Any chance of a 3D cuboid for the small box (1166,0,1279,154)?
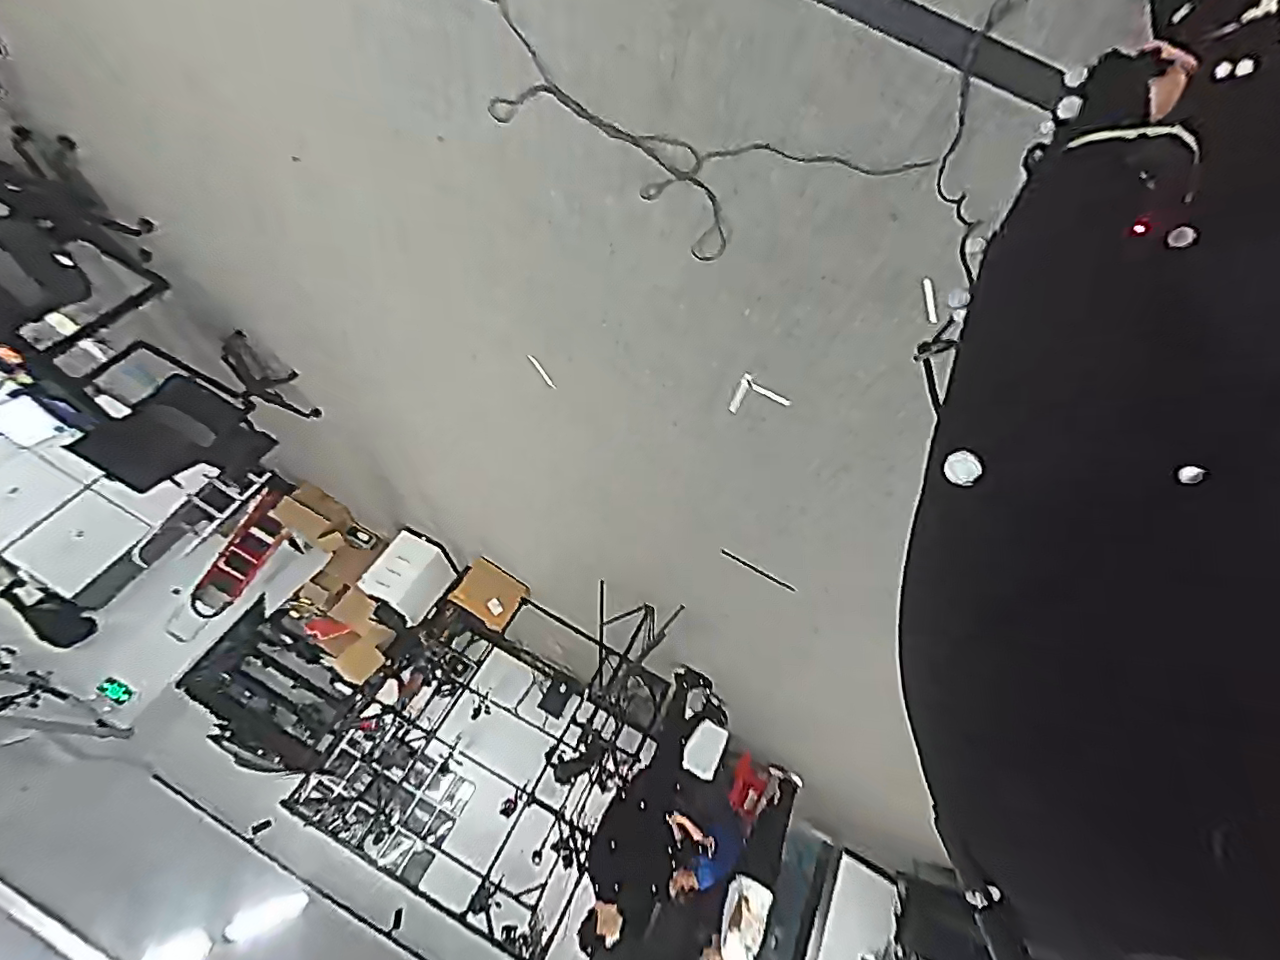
[{"bbox_3d":[0.768,-0.523,0.648,0.179,0.176,0.168,0,134,38],"label":"small box"}]
